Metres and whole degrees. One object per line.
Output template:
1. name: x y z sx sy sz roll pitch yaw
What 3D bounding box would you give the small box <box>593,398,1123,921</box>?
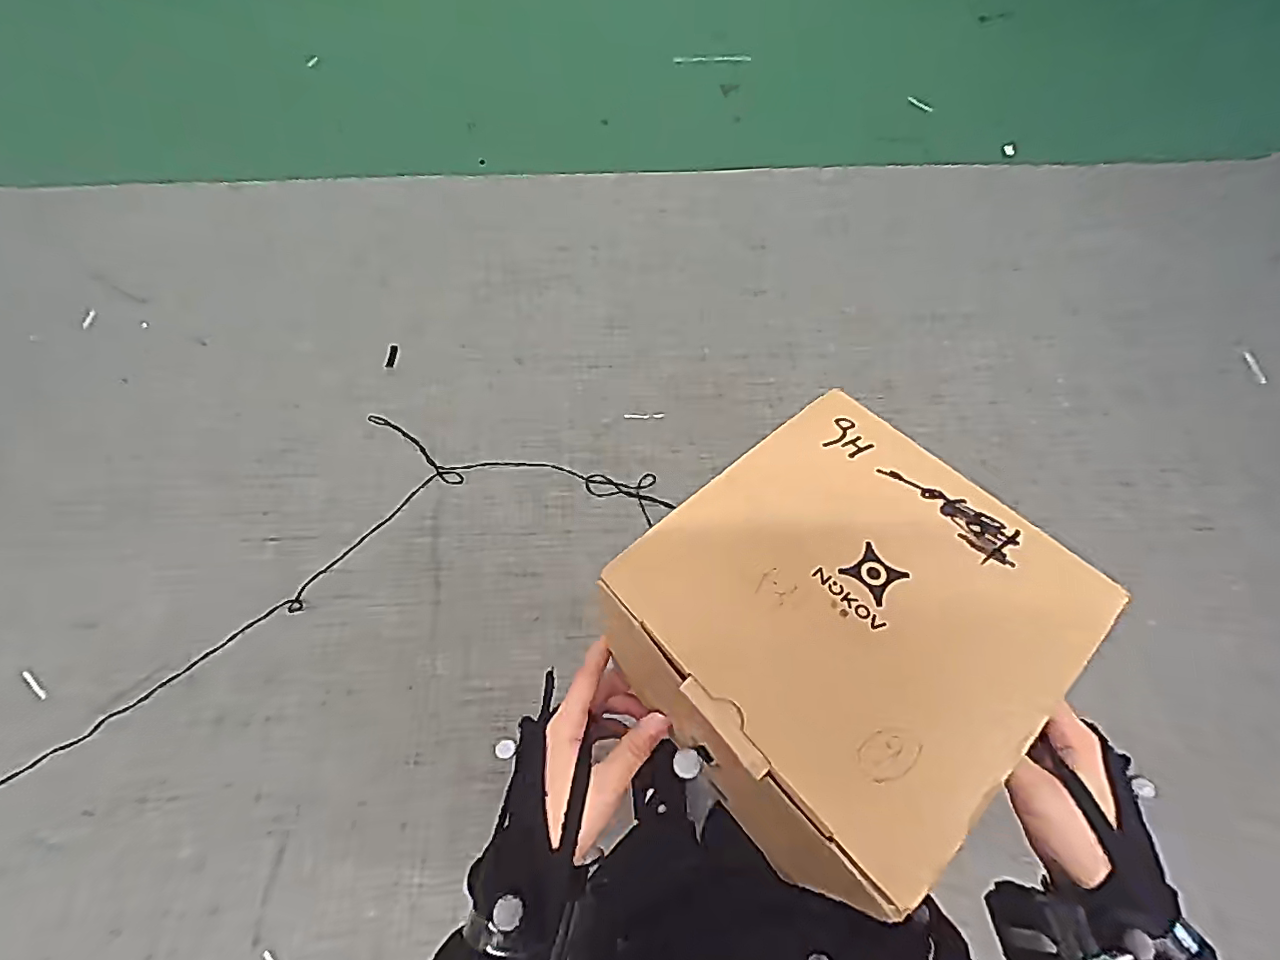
1. small box: 0.097 0.095 0.308 0.179 0.176 0.168 -36 63 -20
